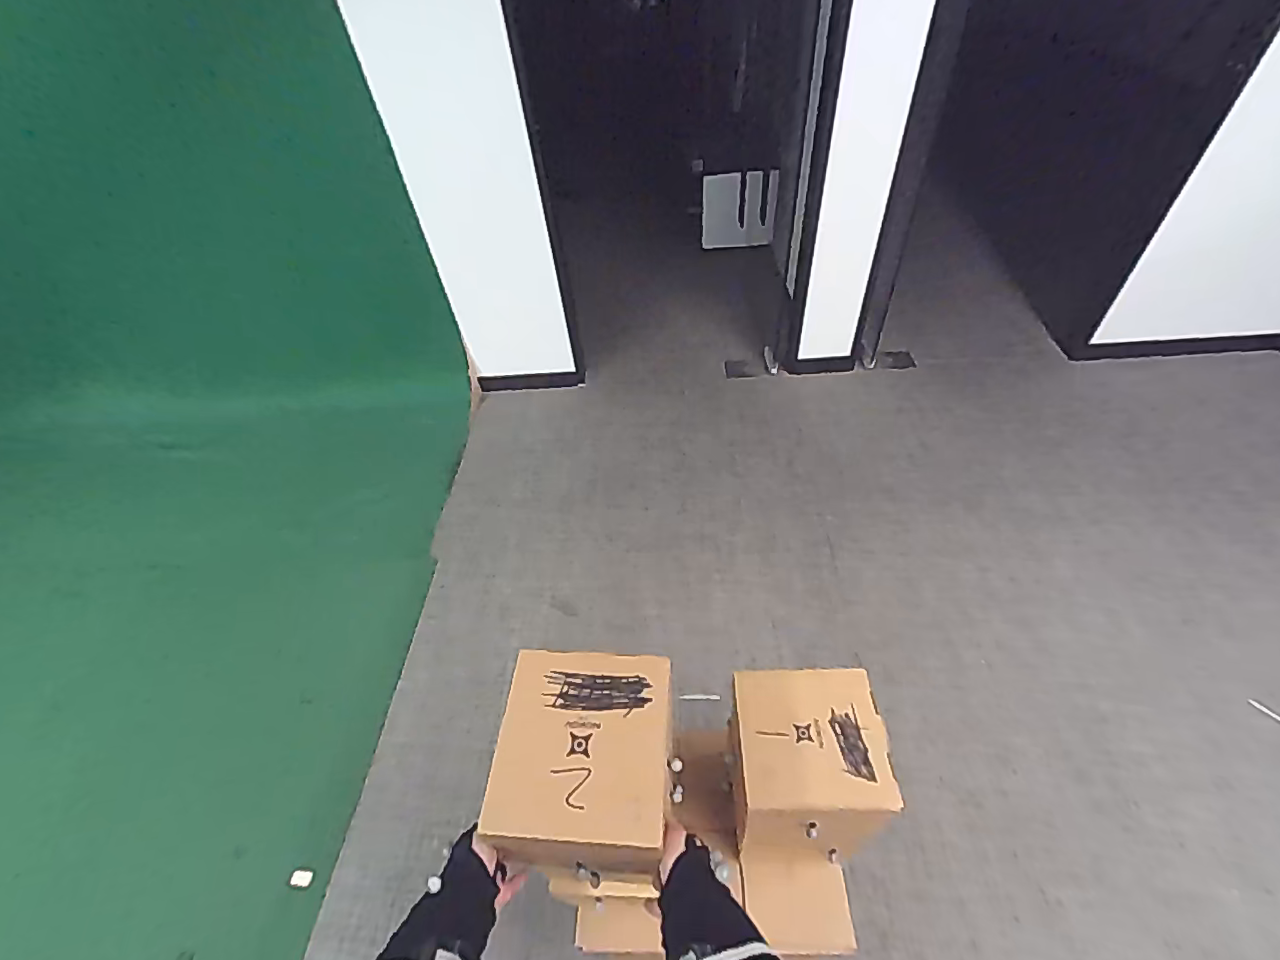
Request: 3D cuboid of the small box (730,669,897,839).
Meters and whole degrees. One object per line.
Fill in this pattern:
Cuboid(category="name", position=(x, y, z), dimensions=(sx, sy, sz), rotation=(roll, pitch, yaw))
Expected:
Cuboid(category="small box", position=(0.215, 0.368, 0.725), dimensions=(0.179, 0.176, 0.168), rotation=(-3, 47, 6))

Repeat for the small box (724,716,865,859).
Cuboid(category="small box", position=(0.227, 0.479, 0.845), dimensions=(0.179, 0.176, 0.168), rotation=(-3, 47, 5))

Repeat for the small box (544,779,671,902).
Cuboid(category="small box", position=(-0.037, 0.527, 0.826), dimensions=(0.168, 0.176, 0.179), rotation=(0, 48, 4))

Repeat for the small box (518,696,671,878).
Cuboid(category="small box", position=(-0.046, 0.407, 0.714), dimensions=(0.168, 0.176, 0.179), rotation=(2, 48, 5))
